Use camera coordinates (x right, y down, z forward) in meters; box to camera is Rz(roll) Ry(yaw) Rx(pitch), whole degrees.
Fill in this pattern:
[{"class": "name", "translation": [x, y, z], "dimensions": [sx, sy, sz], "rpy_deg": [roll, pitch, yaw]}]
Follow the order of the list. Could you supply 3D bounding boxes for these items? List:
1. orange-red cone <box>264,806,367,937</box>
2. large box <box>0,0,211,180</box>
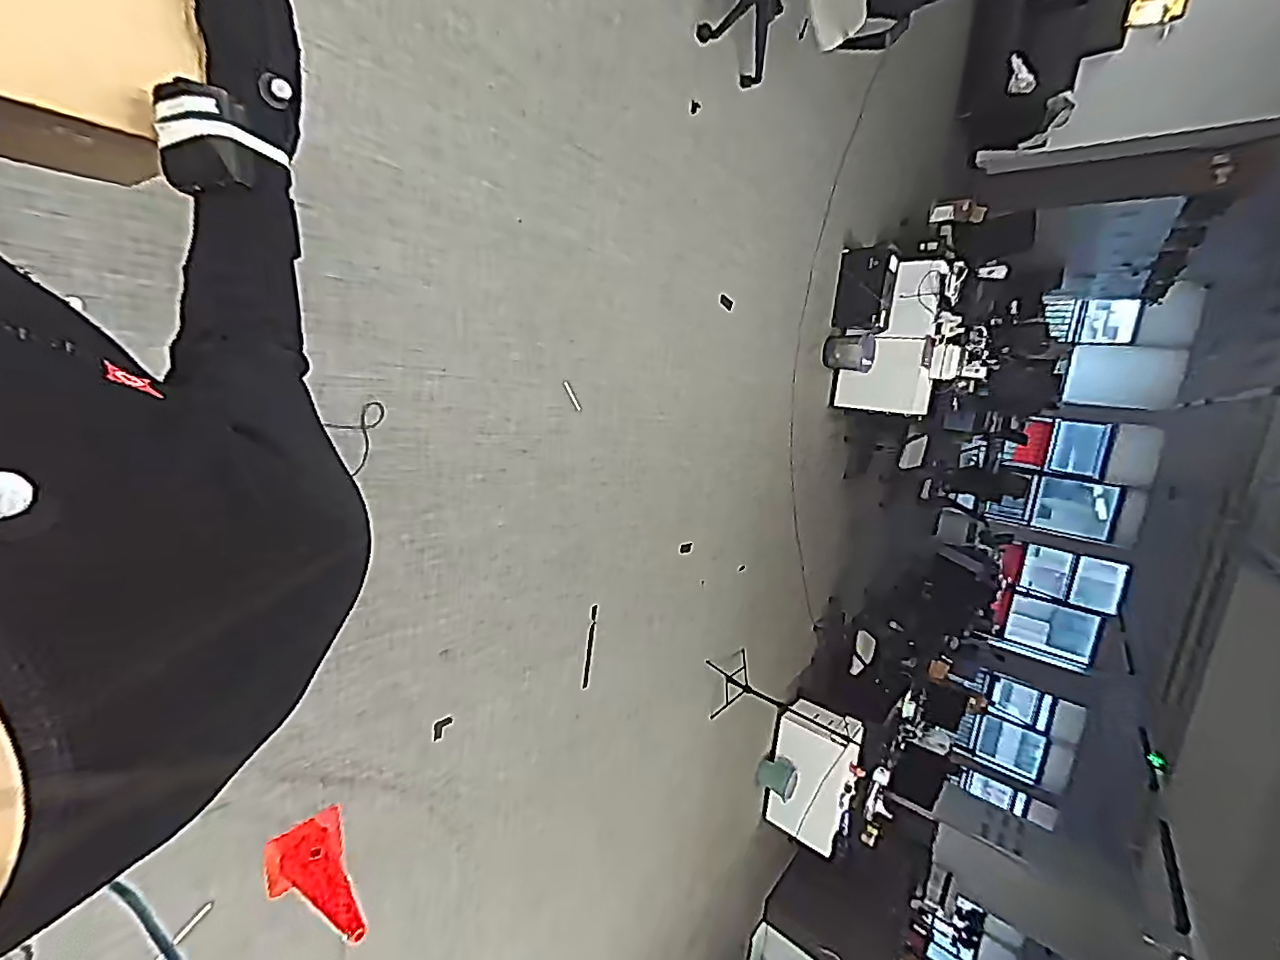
[{"class": "orange-red cone", "translation": [-0.852, 1.112, 1.479], "dimensions": [0.198, 0.360, 0.199], "rpy_deg": [-11, 108, -51]}, {"class": "large box", "translation": [-0.559, -0.415, 0.320], "dimensions": [0.408, 0.320, 0.320], "rpy_deg": [-10, 112, -51]}]
